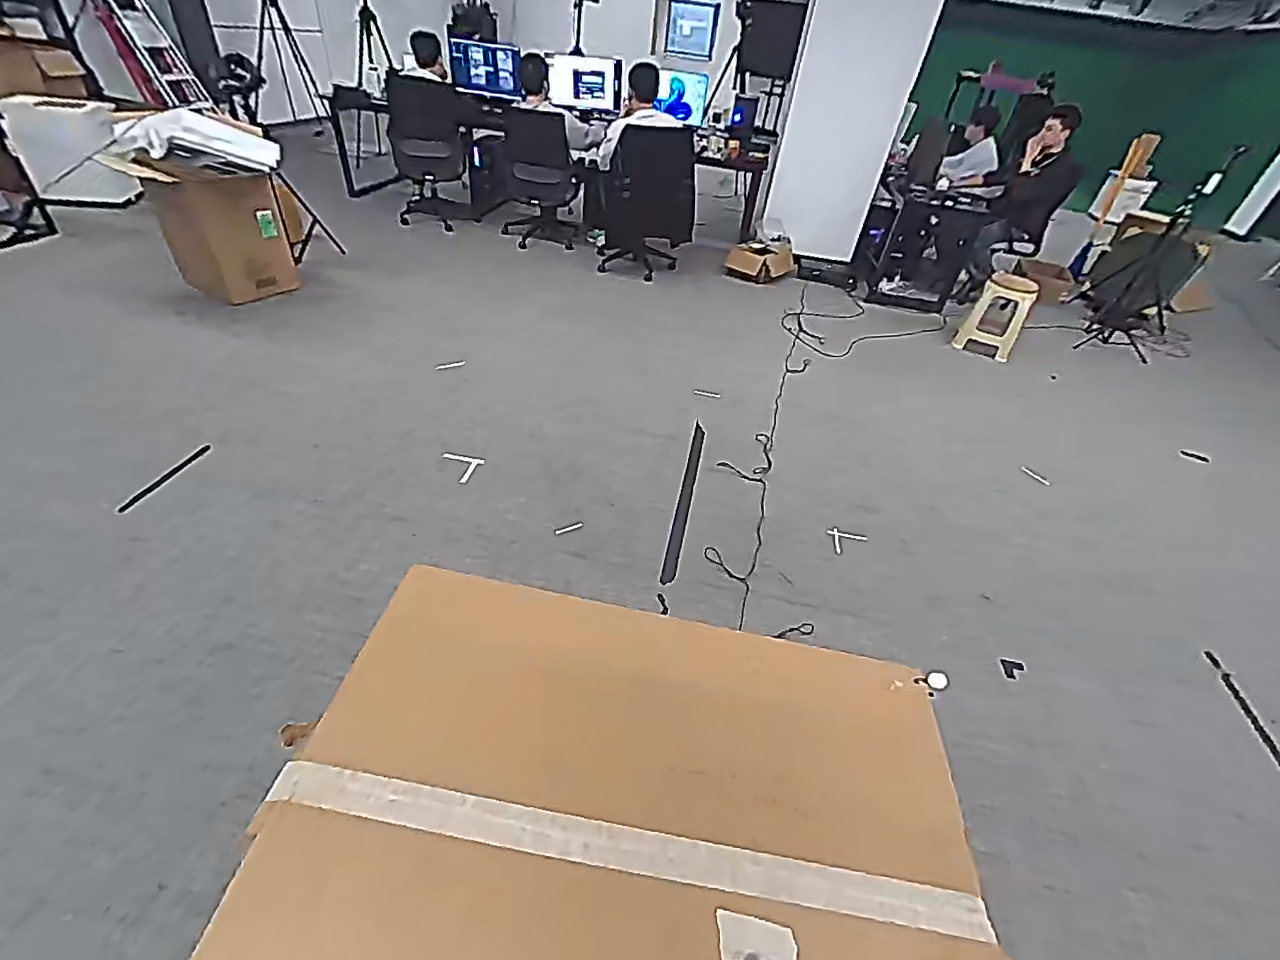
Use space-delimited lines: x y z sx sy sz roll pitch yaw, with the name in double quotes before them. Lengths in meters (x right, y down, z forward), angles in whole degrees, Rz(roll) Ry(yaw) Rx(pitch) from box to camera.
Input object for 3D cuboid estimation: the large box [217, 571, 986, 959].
"large box" -0.022 0.318 0.421 0.408 0.320 0.320 13 44 -1
